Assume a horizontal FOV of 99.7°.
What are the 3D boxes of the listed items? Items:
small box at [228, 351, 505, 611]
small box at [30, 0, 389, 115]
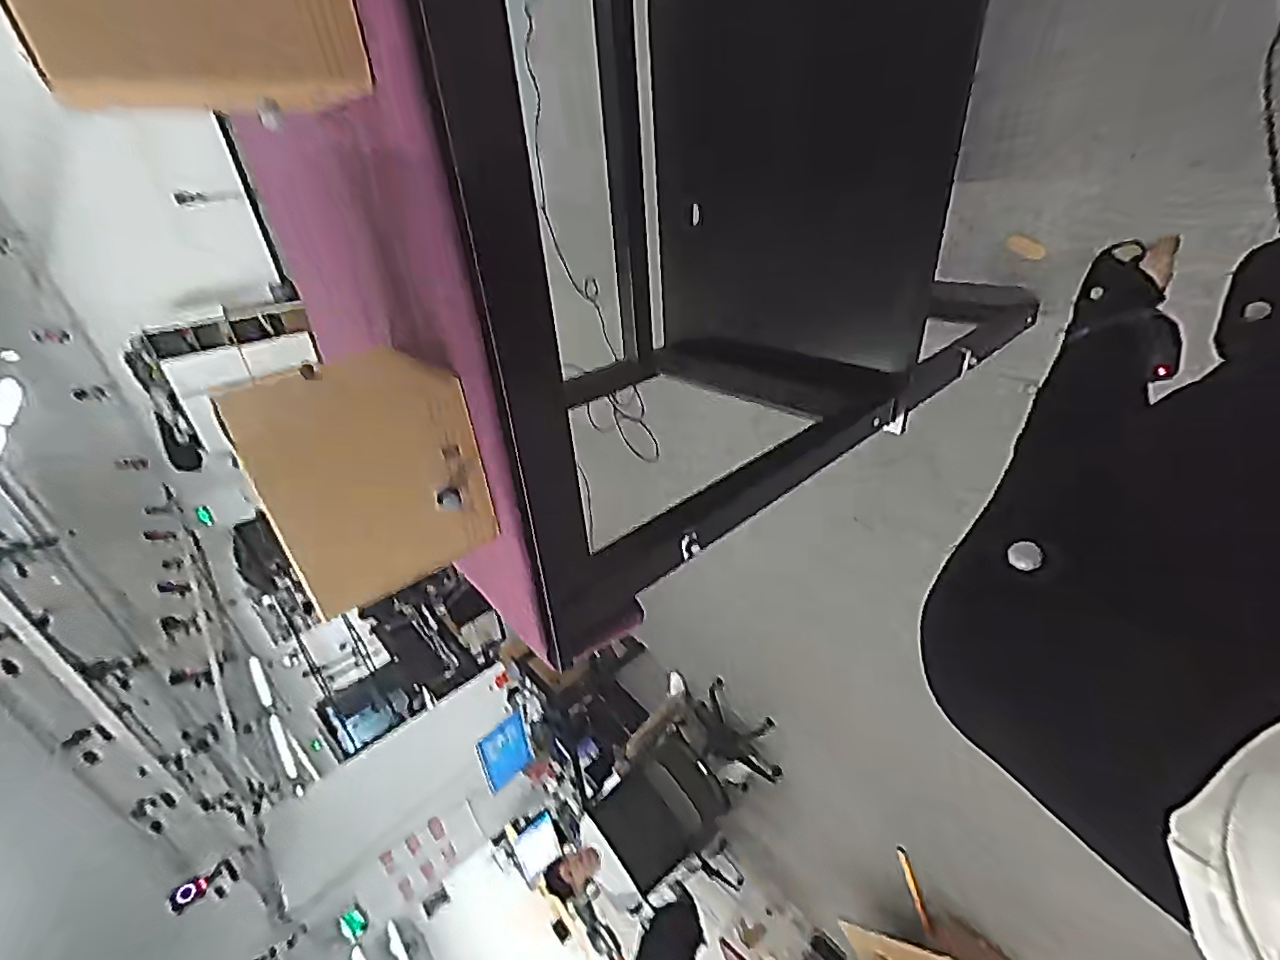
[{"bbox_3d":[-0.252,-0.016,0.514,0.179,0.176,0.168,26,133,44],"label":"small box"},{"bbox_3d":[-0.287,-0.339,0.338,0.168,0.176,0.179,30,136,42],"label":"small box"}]
